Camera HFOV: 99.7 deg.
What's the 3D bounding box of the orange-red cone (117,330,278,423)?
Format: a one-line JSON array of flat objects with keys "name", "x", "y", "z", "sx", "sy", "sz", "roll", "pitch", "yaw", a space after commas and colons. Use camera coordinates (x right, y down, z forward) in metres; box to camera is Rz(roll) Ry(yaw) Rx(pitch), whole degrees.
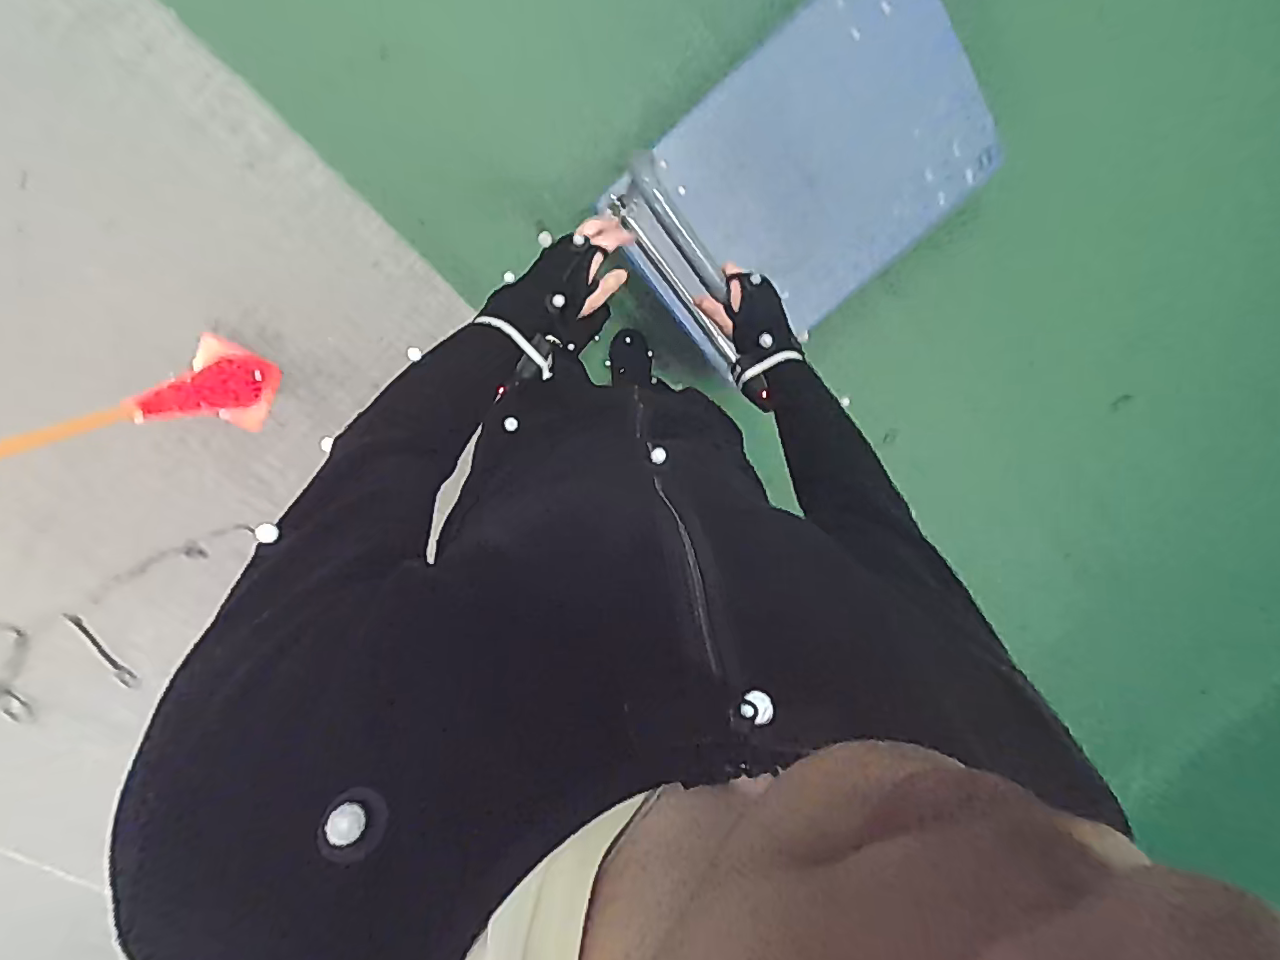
[{"name": "orange-red cone", "x": -1.079, "y": -0.218, "z": 1.279, "sx": 0.199, "sy": 0.360, "sz": 0.198, "roll": 30, "pitch": 103, "yaw": -14}]
